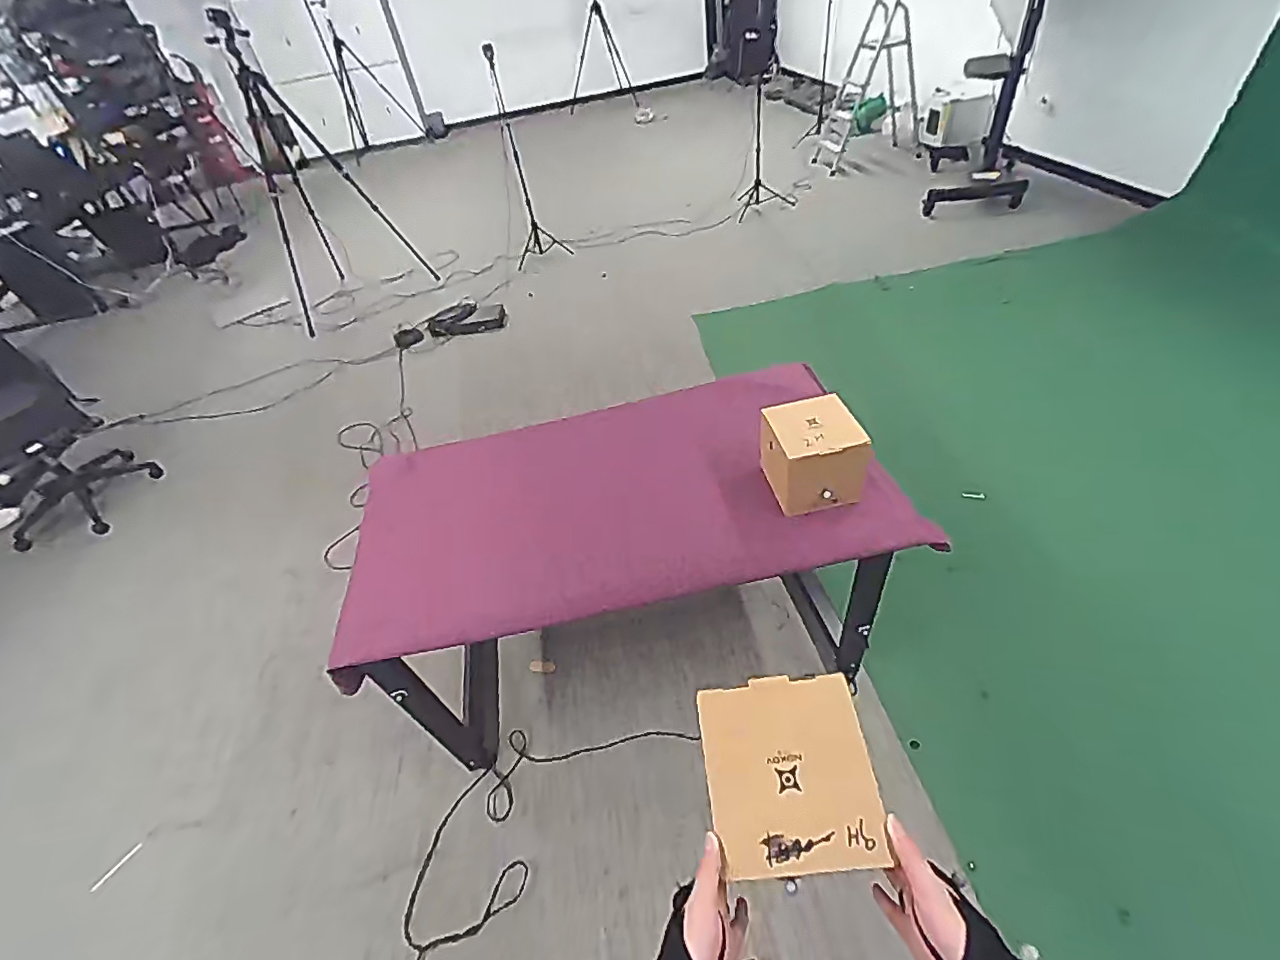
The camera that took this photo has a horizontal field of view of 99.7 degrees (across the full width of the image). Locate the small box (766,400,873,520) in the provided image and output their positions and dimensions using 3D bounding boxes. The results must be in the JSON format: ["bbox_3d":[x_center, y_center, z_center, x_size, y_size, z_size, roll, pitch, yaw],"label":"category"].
[{"bbox_3d":[0.370,-0.041,1.152,0.168,0.176,0.179,-12,42,1],"label":"small box"}]

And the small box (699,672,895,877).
[{"bbox_3d":[0.164,0.338,0.613,0.168,0.176,0.179,-10,53,7],"label":"small box"}]
